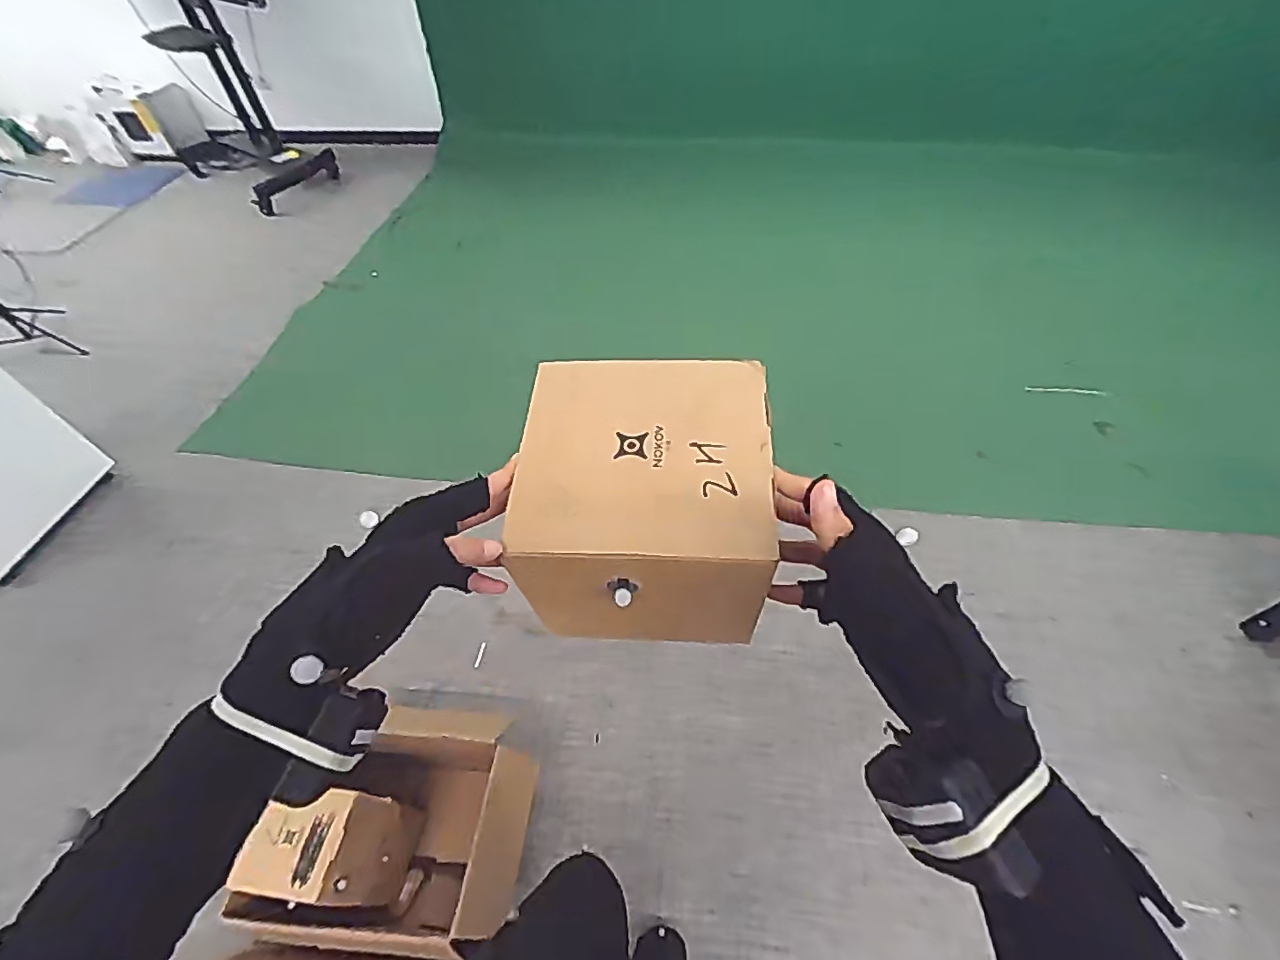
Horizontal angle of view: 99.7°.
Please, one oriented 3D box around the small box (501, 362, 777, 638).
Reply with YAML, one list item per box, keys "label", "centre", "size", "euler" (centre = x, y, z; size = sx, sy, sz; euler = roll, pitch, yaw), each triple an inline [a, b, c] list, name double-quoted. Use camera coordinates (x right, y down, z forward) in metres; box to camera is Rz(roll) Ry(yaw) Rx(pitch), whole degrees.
- label: "small box"
  centre: [0.008, 0.023, 0.442]
  size: [0.179, 0.176, 0.168]
  euler: [1, 58, 5]
